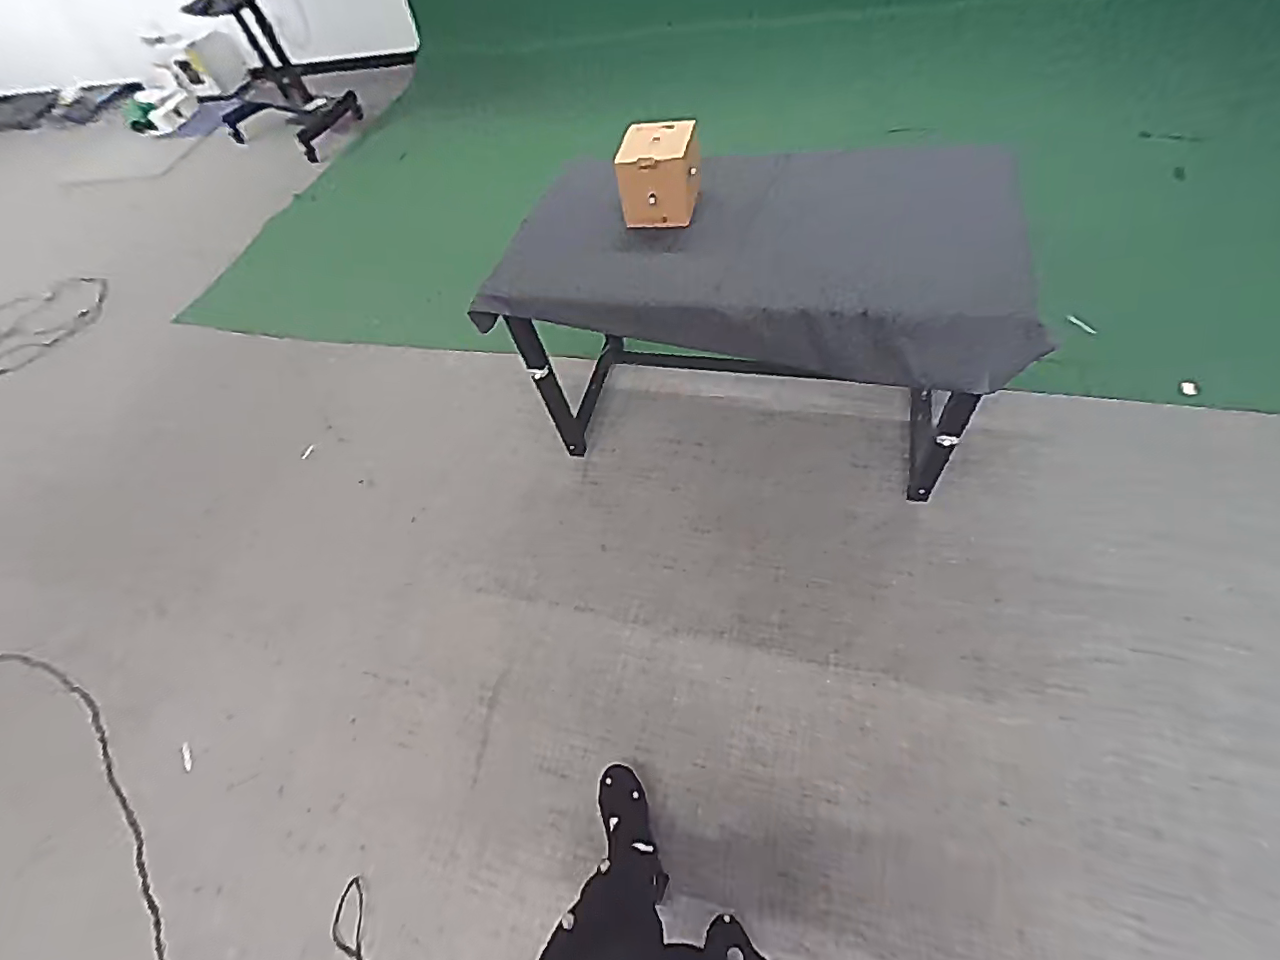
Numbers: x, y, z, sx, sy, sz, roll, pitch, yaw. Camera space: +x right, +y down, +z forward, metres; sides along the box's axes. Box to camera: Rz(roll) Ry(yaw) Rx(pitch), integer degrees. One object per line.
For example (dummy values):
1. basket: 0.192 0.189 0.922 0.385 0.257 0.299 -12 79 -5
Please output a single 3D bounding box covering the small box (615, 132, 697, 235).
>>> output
1. small box: 0.049 -0.740 1.366 0.168 0.176 0.179 2 57 14
